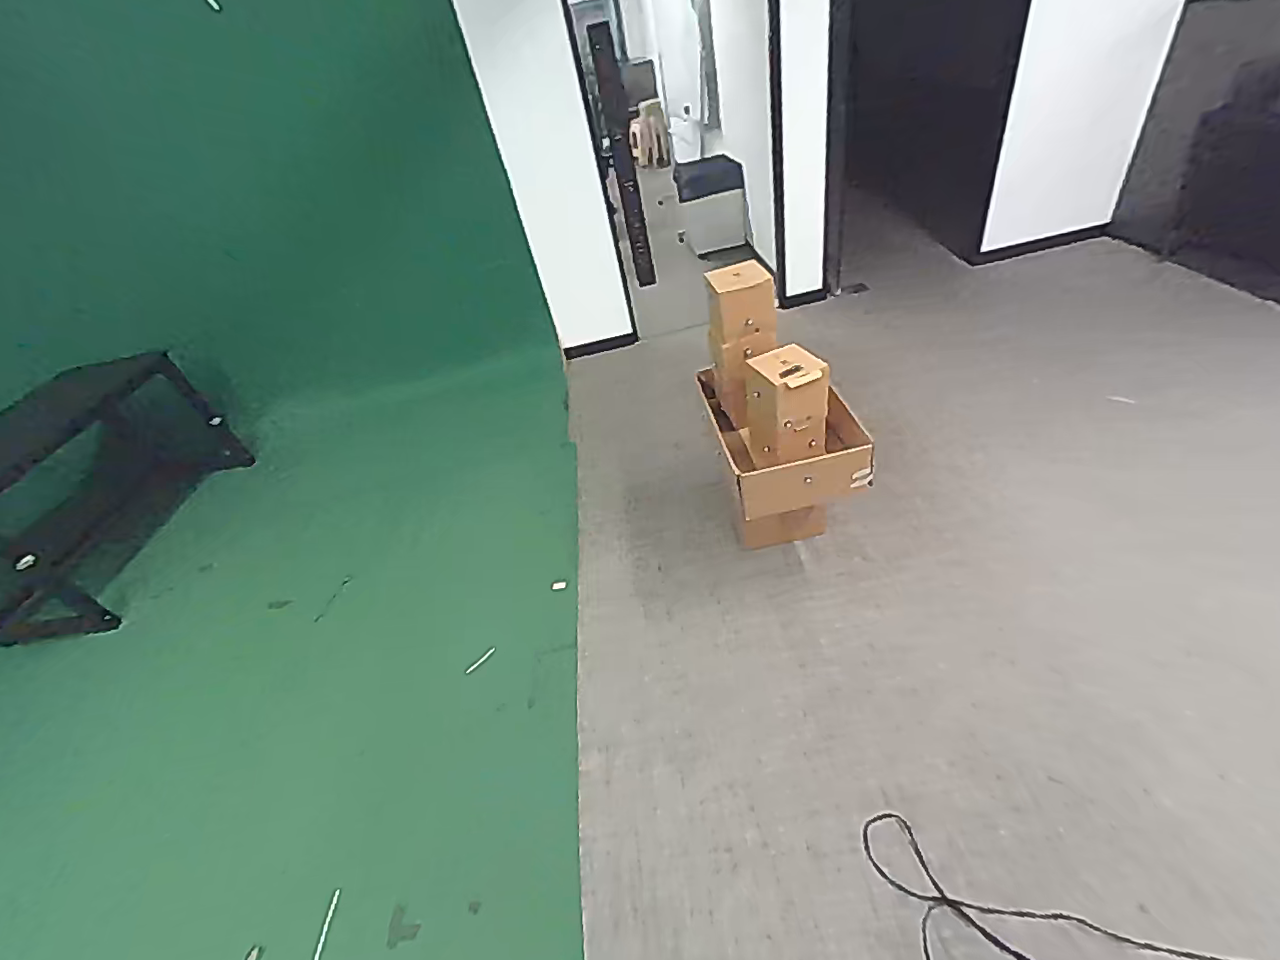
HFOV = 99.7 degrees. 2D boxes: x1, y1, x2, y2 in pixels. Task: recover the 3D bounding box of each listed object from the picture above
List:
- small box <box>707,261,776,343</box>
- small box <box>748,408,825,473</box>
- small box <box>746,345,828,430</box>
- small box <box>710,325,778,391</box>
[{"bbox_3d":[0.313,-0.549,1.674,0.168,0.176,0.179,-16,41,1],"label":"small box"},{"bbox_3d":[0.454,-0.142,1.676,0.168,0.176,0.179,-21,40,-8],"label":"small box"},{"bbox_3d":[0.425,-0.262,1.568,0.168,0.176,0.179,-21,39,-9],"label":"small box"},{"bbox_3d":[0.341,-0.420,1.773,0.179,0.176,0.168,-17,40,-1],"label":"small box"}]
